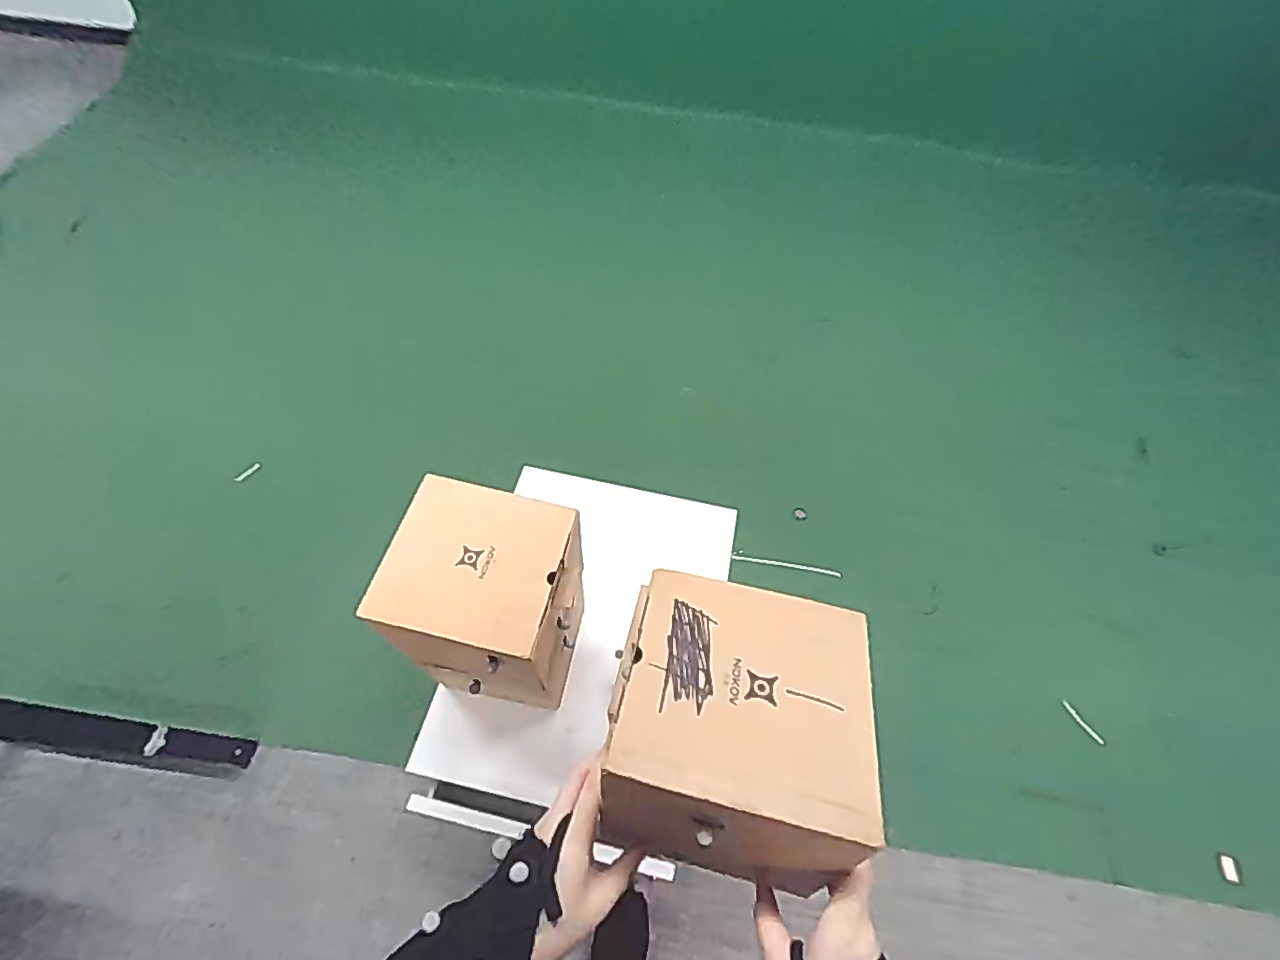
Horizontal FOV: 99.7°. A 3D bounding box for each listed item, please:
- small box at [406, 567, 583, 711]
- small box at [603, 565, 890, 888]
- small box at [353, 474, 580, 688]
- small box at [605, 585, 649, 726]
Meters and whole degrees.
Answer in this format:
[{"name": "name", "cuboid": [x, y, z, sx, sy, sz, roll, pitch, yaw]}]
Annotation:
[{"name": "small box", "cuboid": [-0.182, 0.206, 0.743, 0.179, 0.176, 0.168, 11, 58, 3]}, {"name": "small box", "cuboid": [0.073, 0.198, 0.434, 0.179, 0.176, 0.168, 13, 45, 6]}, {"name": "small box", "cuboid": [-0.173, 0.120, 0.605, 0.179, 0.176, 0.168, 13, 58, 2]}, {"name": "small box", "cuboid": [0.060, 0.263, 0.720, 0.179, 0.176, 0.168, 14, 60, 5]}]
